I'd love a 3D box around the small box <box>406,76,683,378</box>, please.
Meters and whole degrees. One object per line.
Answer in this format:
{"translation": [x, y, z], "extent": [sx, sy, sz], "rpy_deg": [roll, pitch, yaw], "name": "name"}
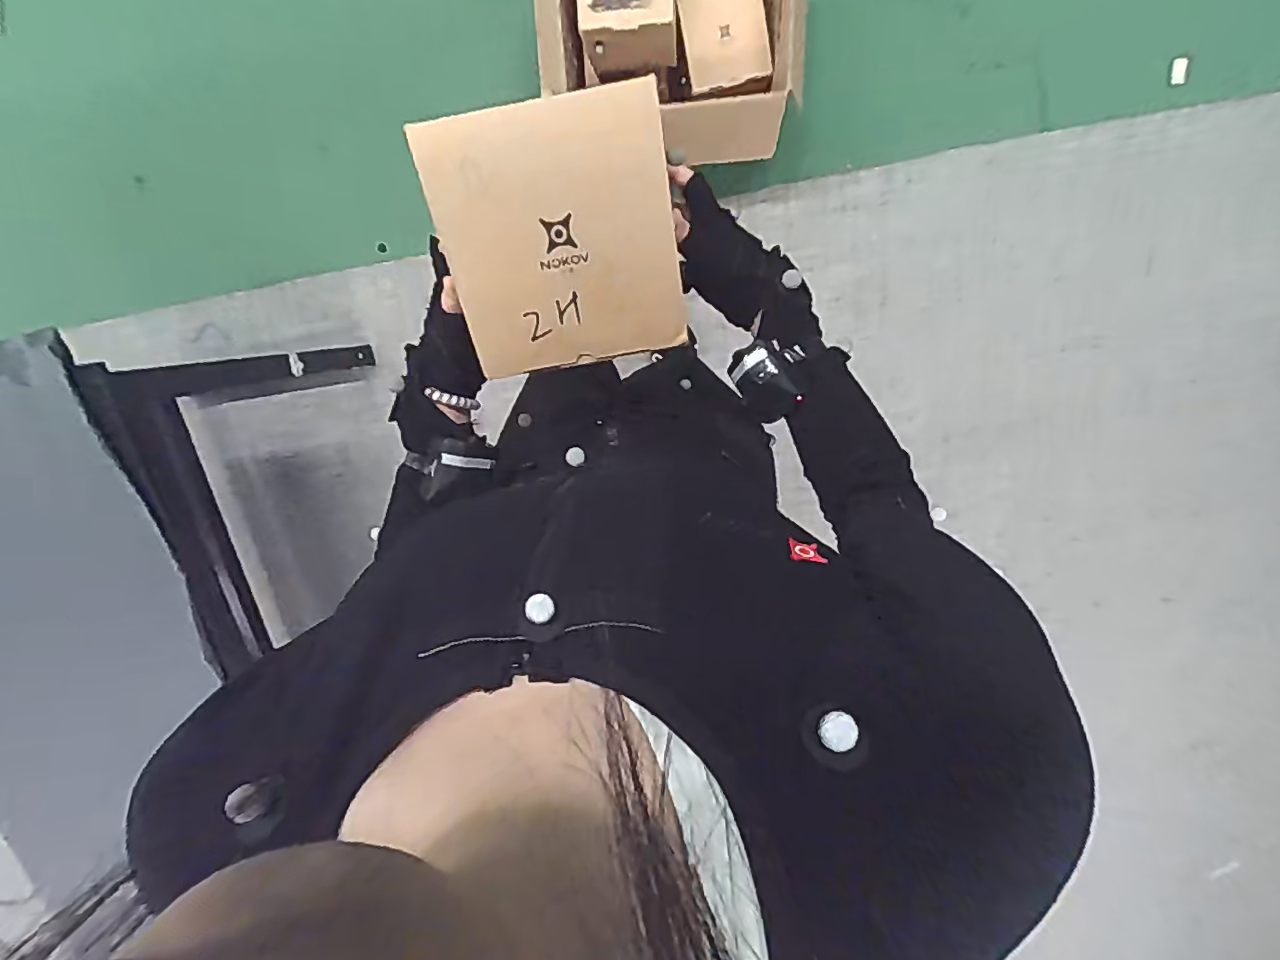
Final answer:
{"translation": [-0.063, -0.205, 0.453], "extent": [0.168, 0.176, 0.179], "rpy_deg": [-9, 119, 3], "name": "small box"}
